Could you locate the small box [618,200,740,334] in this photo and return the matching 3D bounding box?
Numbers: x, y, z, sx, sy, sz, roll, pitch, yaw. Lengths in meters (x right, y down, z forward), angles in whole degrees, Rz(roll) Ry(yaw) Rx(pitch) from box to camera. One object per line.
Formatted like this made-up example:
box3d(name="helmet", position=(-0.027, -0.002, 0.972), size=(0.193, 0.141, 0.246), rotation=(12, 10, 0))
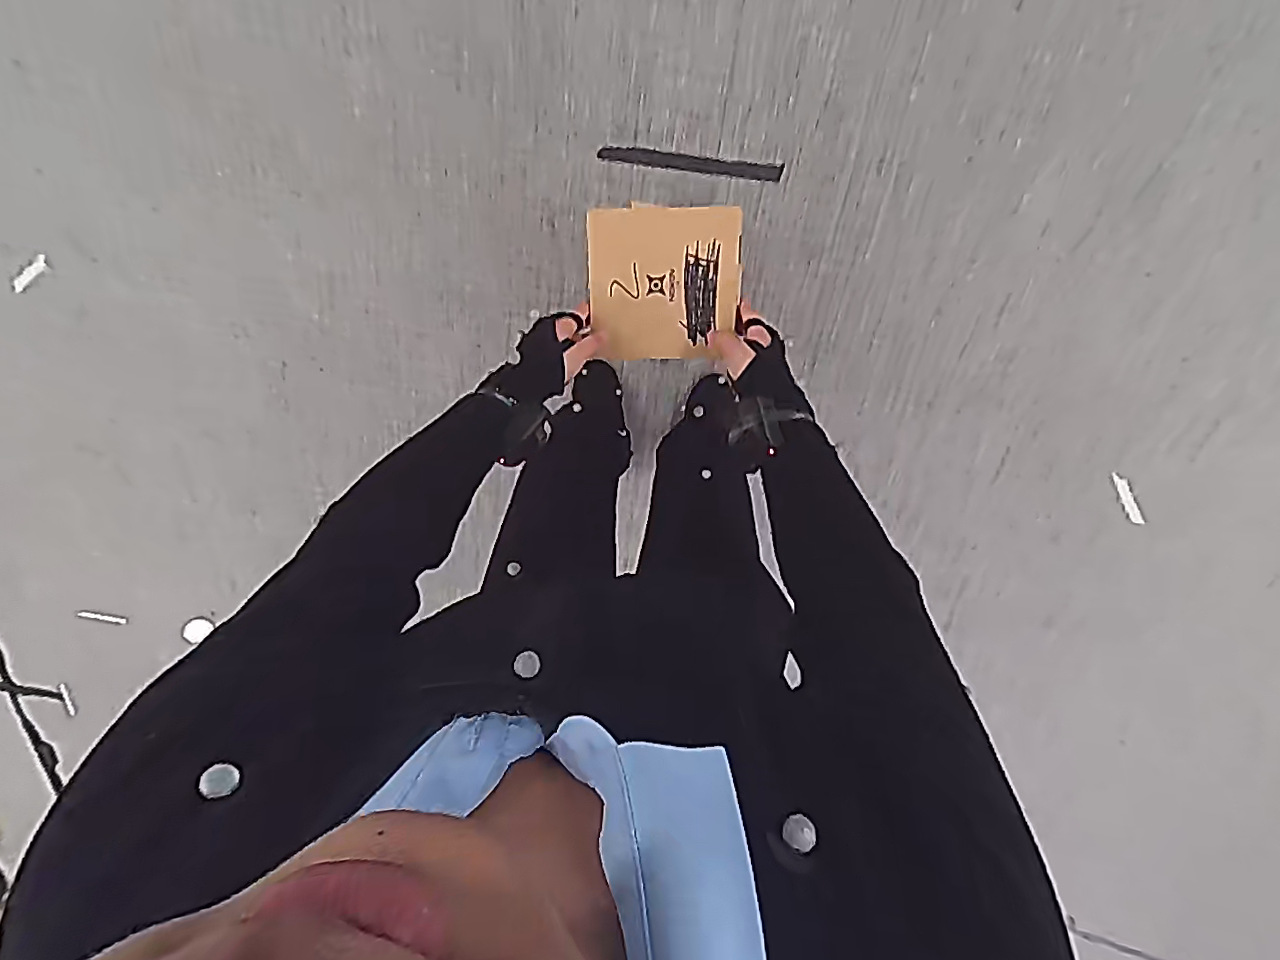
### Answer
box3d(name="small box", position=(0.062, -0.357, 0.909), size=(0.168, 0.176, 0.179), rotation=(9, 115, 1))
